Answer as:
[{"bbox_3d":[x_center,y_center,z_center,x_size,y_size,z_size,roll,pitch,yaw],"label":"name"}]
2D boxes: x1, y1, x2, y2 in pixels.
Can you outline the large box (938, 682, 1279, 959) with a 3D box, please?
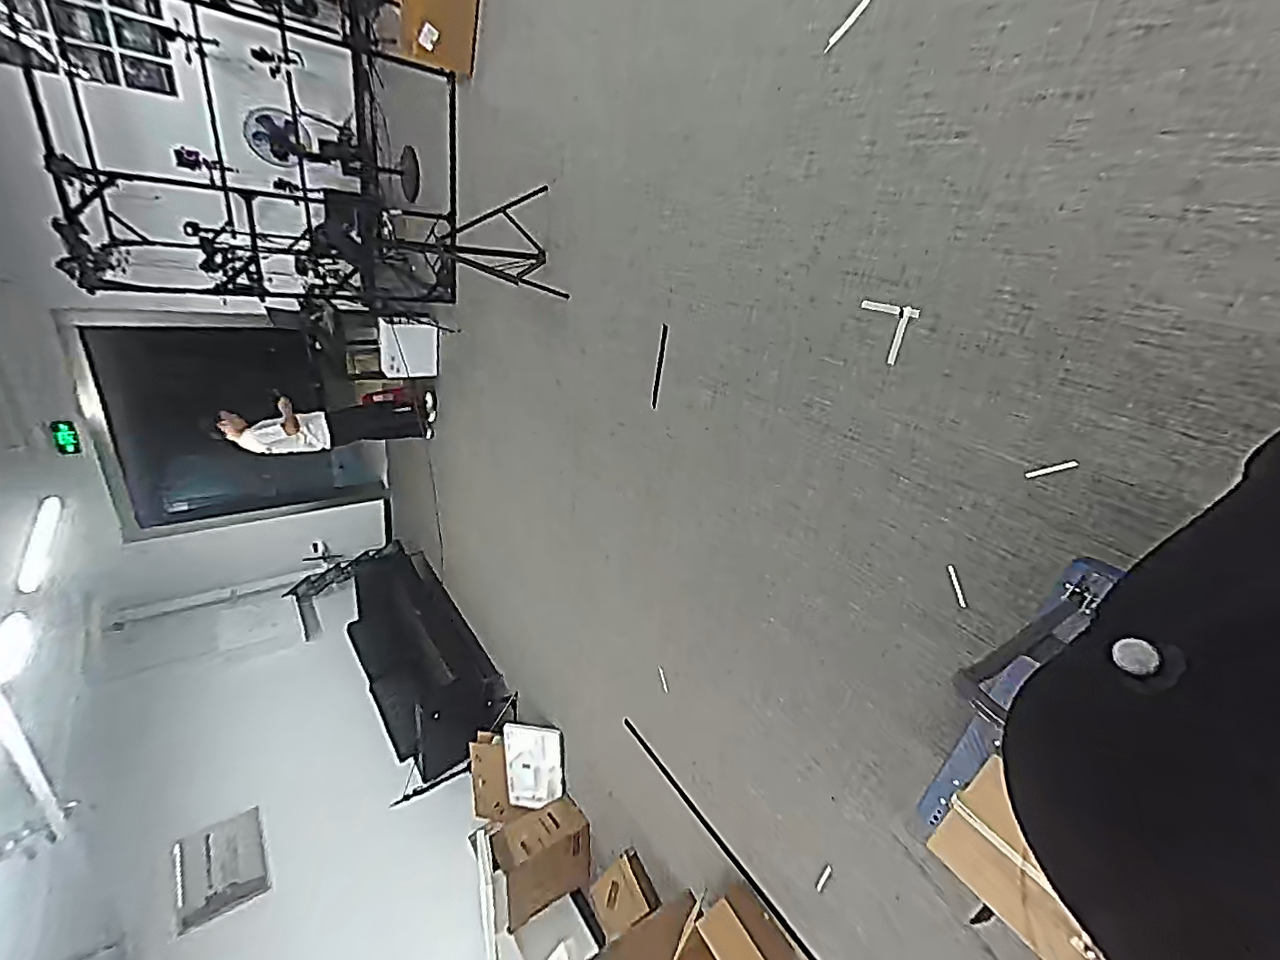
[{"bbox_3d":[0.892,0.683,1.043,0.408,0.320,0.320,38,128,41],"label":"large box"}]
